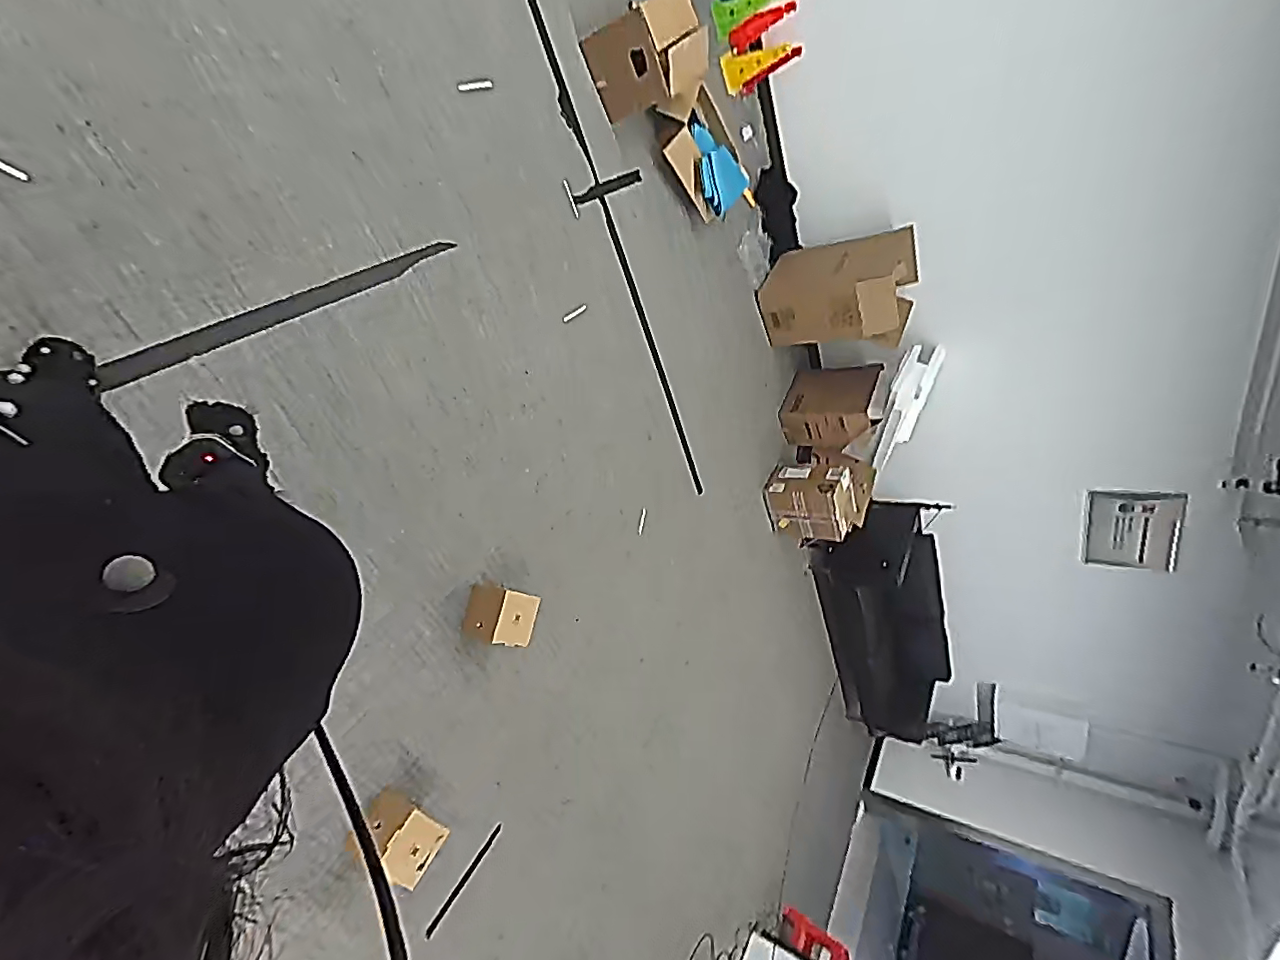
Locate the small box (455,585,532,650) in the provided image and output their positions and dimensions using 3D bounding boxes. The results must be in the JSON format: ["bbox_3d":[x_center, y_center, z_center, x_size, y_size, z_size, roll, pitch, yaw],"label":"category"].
[{"bbox_3d":[-0.502,0.468,1.845,0.168,0.176,0.179,31,67,-51],"label":"small box"}]

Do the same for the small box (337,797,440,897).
[{"bbox_3d":[-0.730,1.052,1.565,0.168,0.176,0.179,-55,132,-36],"label":"small box"}]
